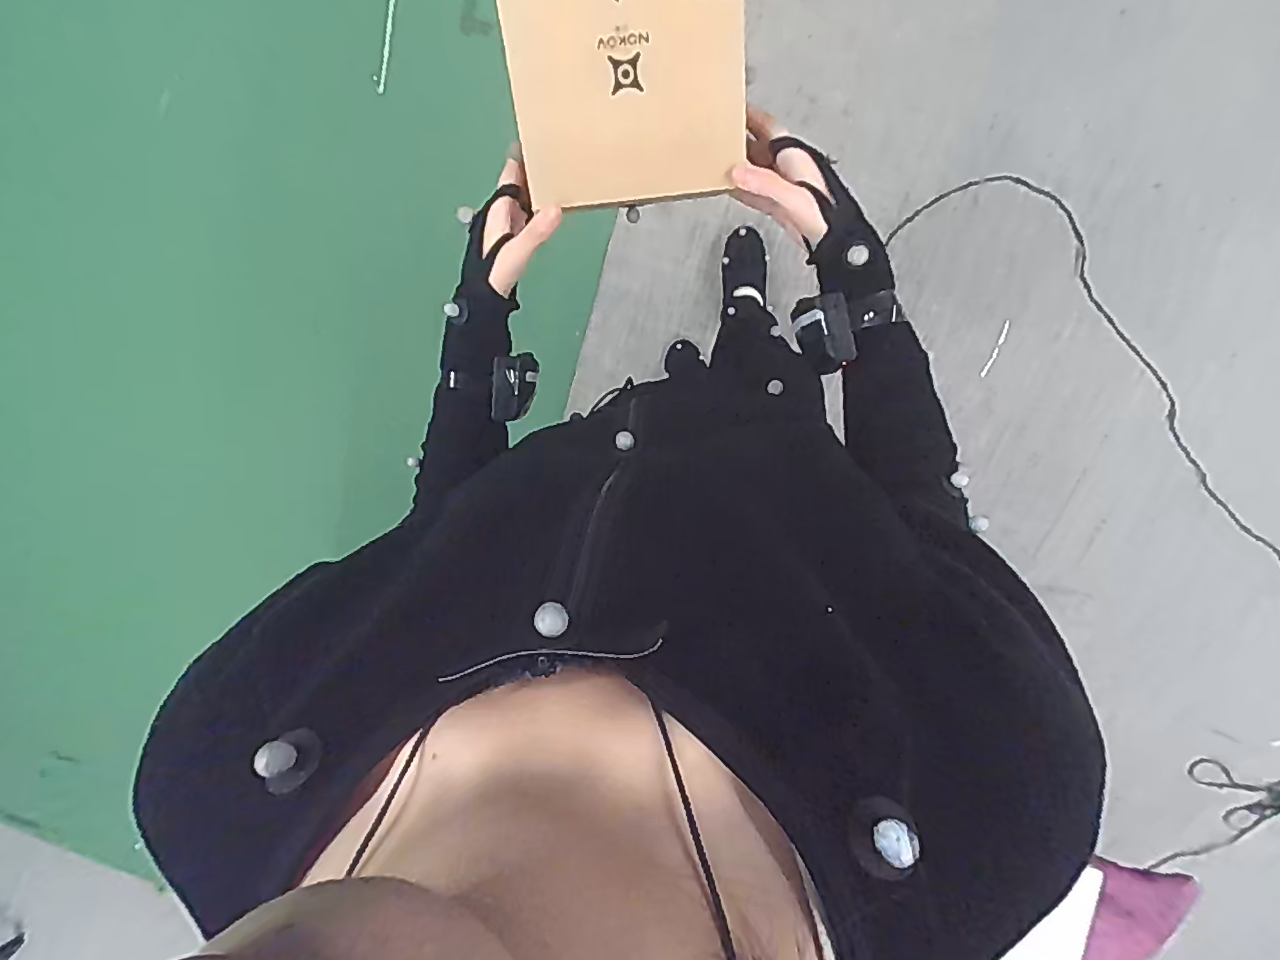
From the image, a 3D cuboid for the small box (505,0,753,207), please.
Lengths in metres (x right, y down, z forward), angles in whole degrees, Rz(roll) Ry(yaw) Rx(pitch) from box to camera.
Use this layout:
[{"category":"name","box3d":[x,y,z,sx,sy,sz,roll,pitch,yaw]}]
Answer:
[{"category":"small box","box3d":[-0.006,-0.326,0.439,0.168,0.176,0.179,-5,116,1]}]
